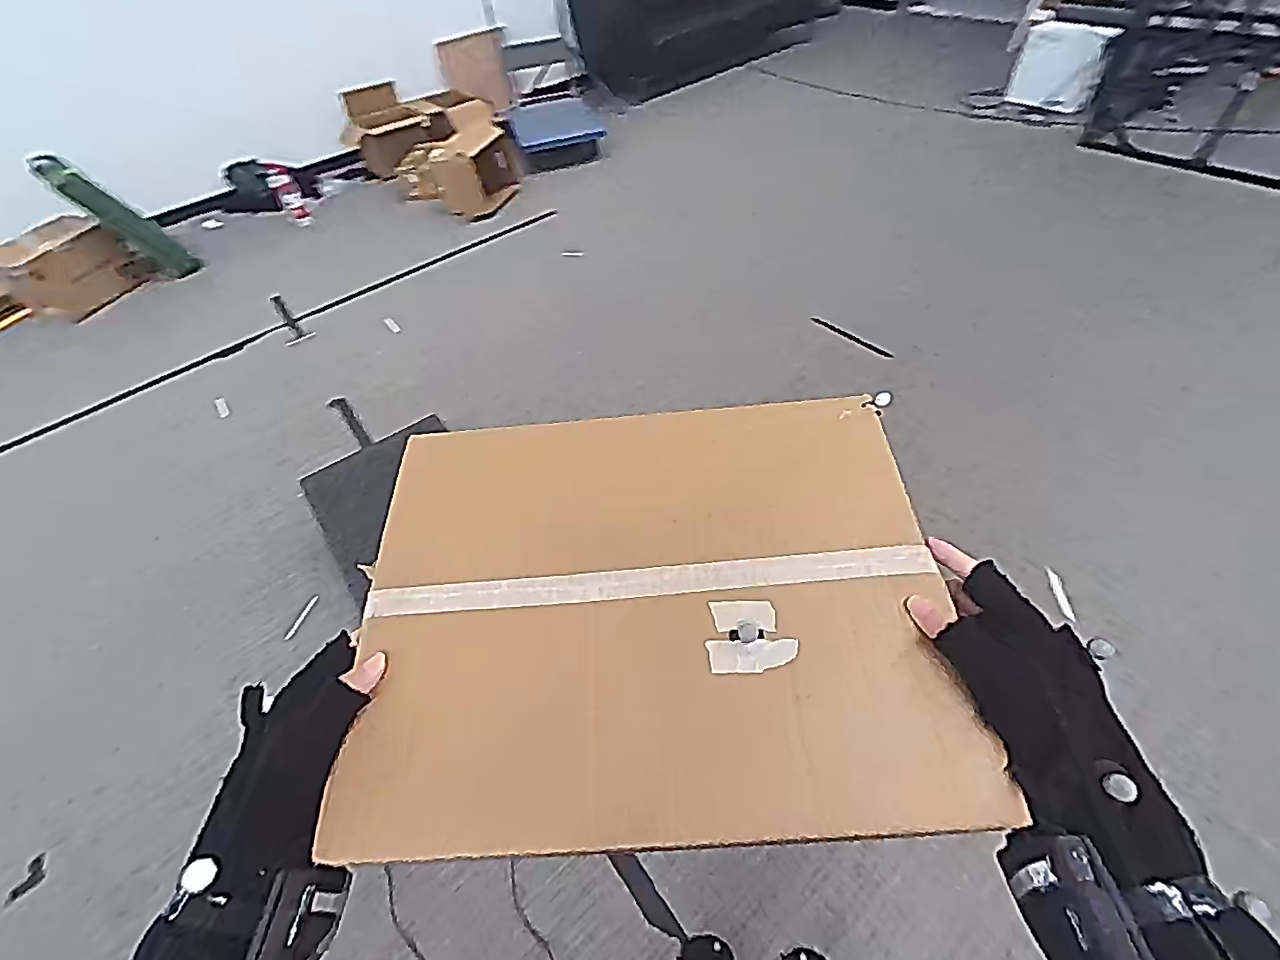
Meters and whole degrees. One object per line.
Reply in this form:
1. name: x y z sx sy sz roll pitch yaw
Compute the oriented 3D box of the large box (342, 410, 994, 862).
1. large box: 0.014 0.165 0.528 0.408 0.320 0.320 -5 57 2
